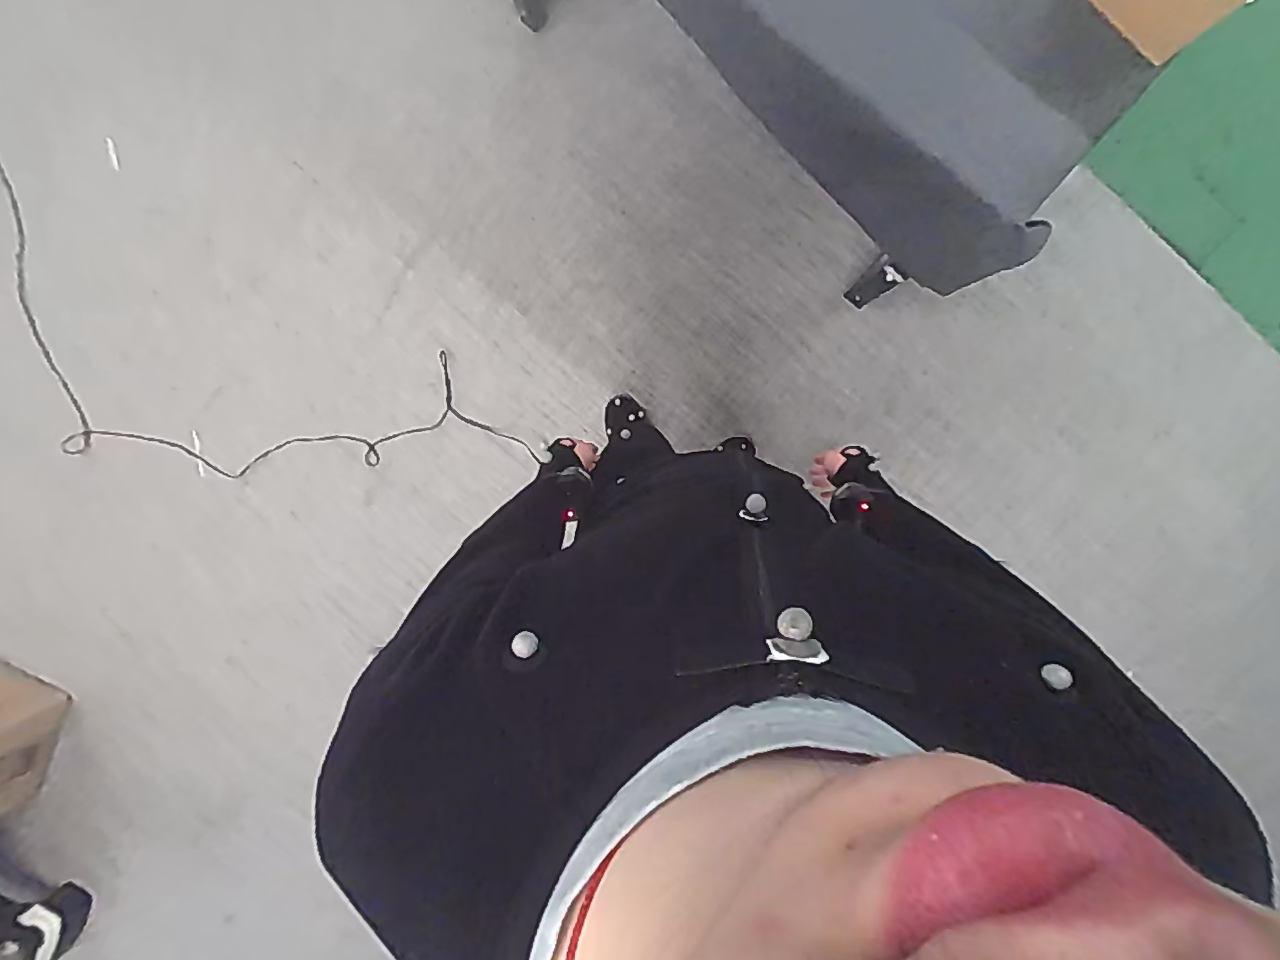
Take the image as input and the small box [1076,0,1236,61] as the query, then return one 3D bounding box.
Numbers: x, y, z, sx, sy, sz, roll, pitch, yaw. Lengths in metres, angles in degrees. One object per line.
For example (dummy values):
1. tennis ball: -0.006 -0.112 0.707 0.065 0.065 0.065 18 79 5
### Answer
1. small box: 0.651 -0.646 0.621 0.179 0.176 0.168 42 97 -3
